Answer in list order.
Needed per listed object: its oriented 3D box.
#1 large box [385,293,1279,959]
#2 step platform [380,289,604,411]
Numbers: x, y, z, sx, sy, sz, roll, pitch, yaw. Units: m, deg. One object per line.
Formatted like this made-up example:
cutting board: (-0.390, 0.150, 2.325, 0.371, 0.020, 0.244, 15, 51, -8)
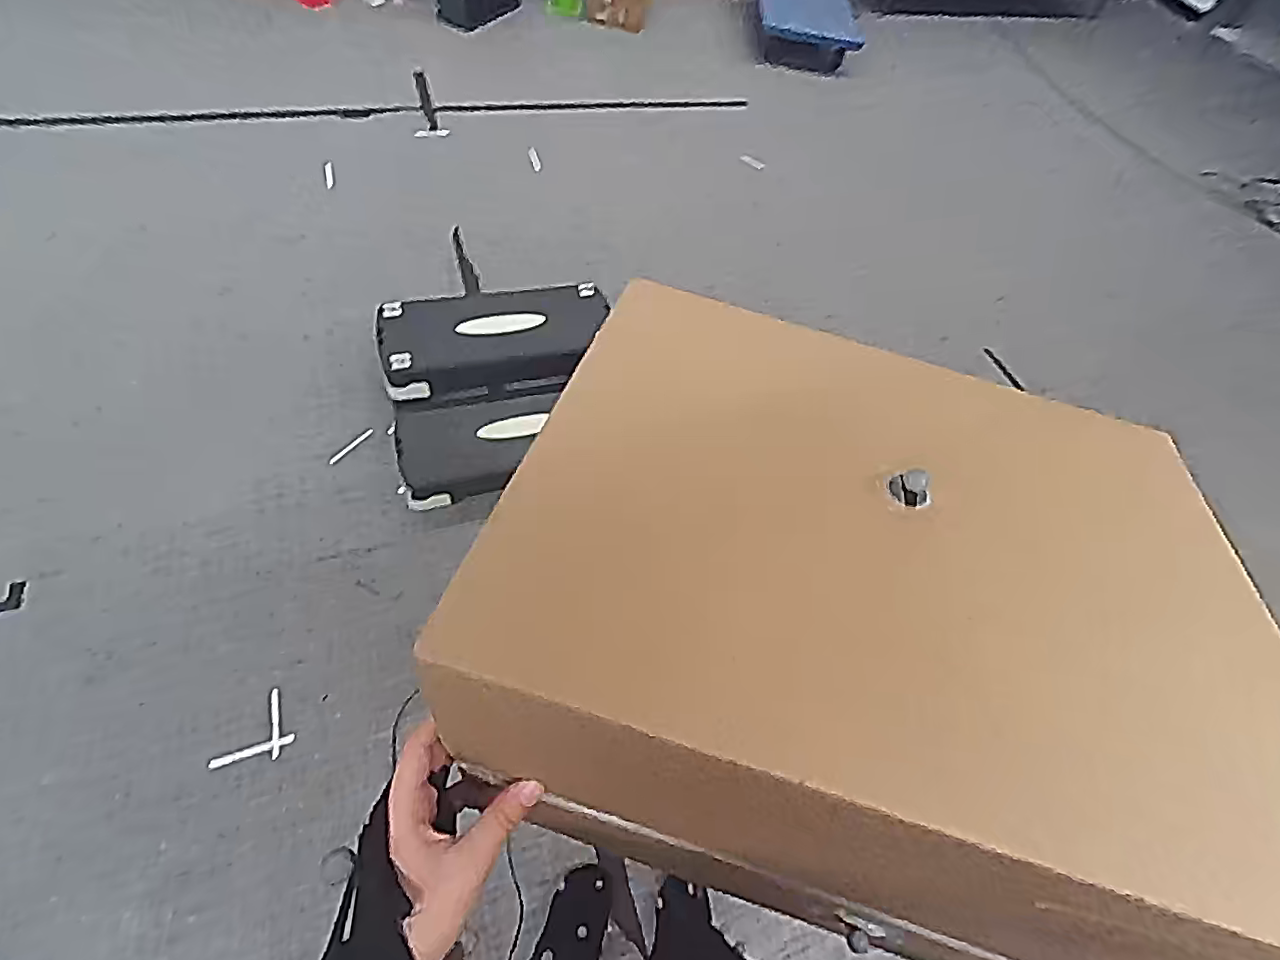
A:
large box: (0.104, 0.106, 0.408, 0.408, 0.320, 0.320, 15, 51, 3)
step platform: (-0.403, -0.402, 1.622, 0.684, 0.204, 0.286, -7, 61, -14)
